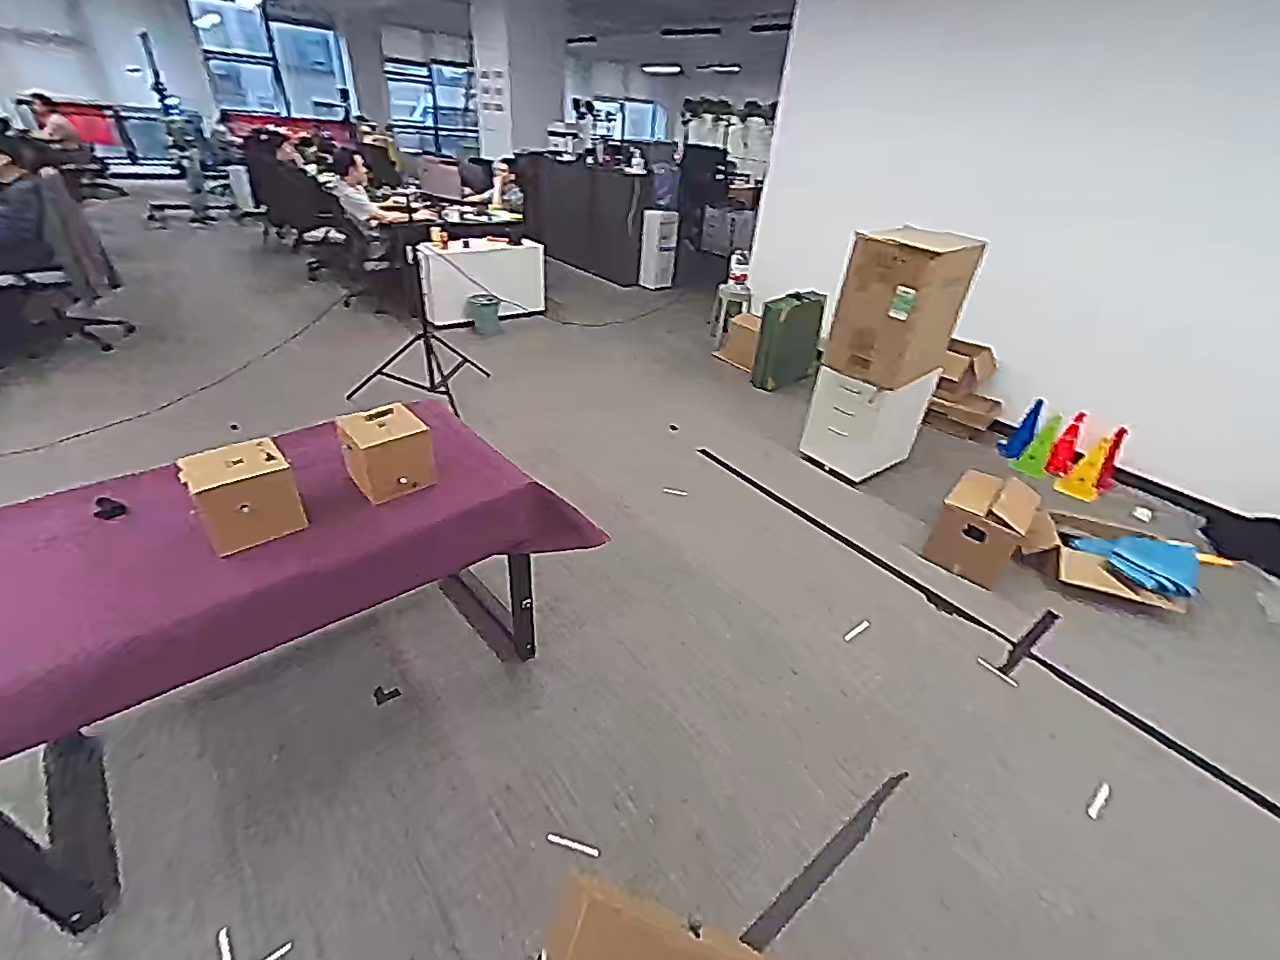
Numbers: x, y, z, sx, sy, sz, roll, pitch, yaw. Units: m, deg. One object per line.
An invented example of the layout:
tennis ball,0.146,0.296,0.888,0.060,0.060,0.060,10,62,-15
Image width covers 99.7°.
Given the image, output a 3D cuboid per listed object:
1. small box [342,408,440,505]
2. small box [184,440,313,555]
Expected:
small box,-0.635,-0.062,1.387,0.168,0.176,0.179,-24,44,-37
small box,-0.864,0.039,1.203,0.179,0.176,0.168,-25,43,-36
